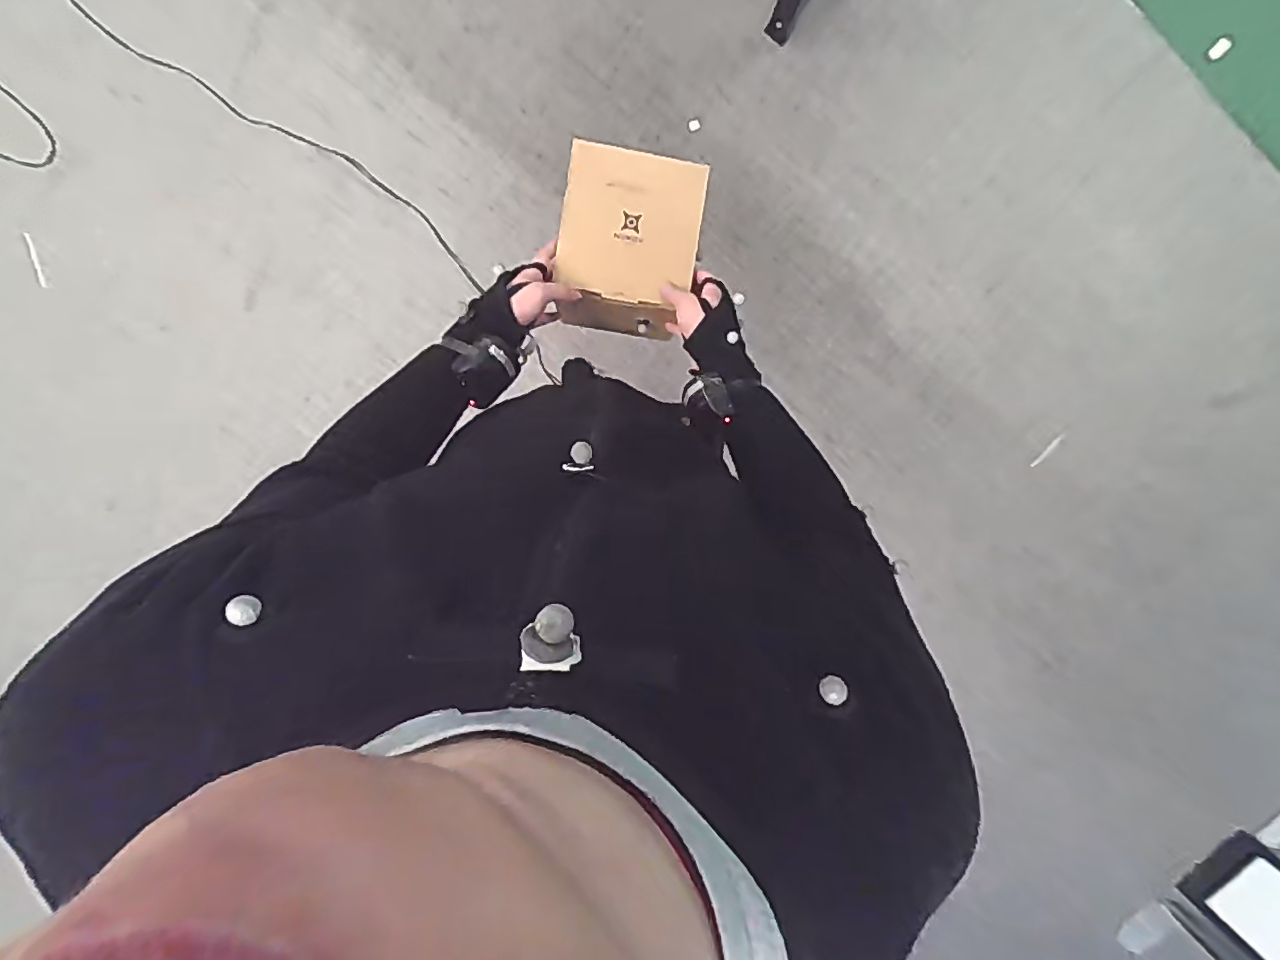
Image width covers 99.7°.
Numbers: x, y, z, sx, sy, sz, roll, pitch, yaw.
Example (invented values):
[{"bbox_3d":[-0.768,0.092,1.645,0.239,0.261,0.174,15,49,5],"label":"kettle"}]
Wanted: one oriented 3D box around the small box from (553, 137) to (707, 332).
[{"bbox_3d":[-0.018,-0.311,0.725,0.168,0.176,0.179,8,91,-6],"label":"small box"}]
